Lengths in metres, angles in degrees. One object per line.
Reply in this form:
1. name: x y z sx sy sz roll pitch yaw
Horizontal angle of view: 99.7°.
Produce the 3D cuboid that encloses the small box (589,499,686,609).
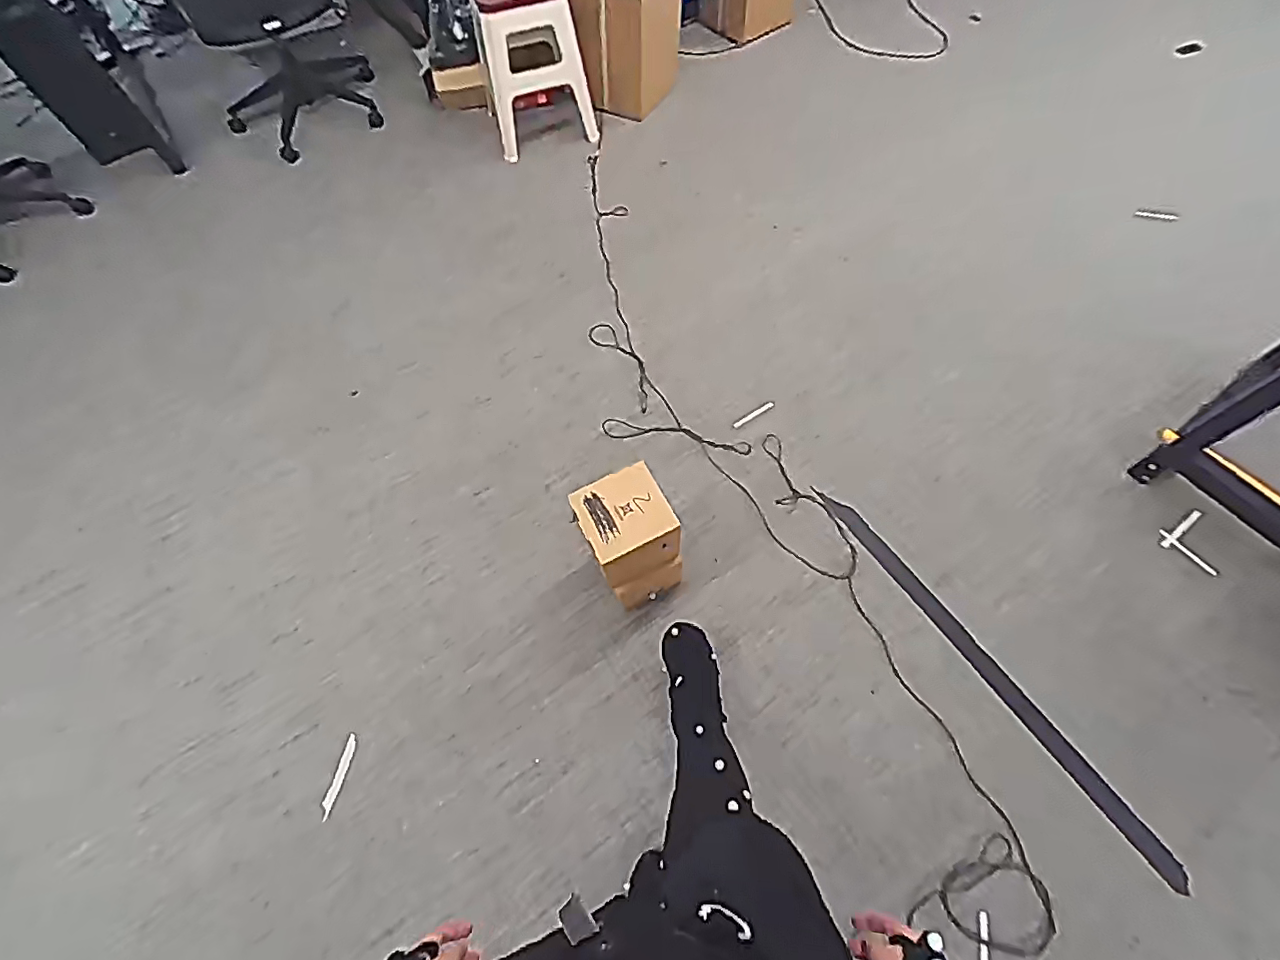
1. small box: -0.006 0.180 1.274 0.168 0.176 0.179 -26 66 -9
